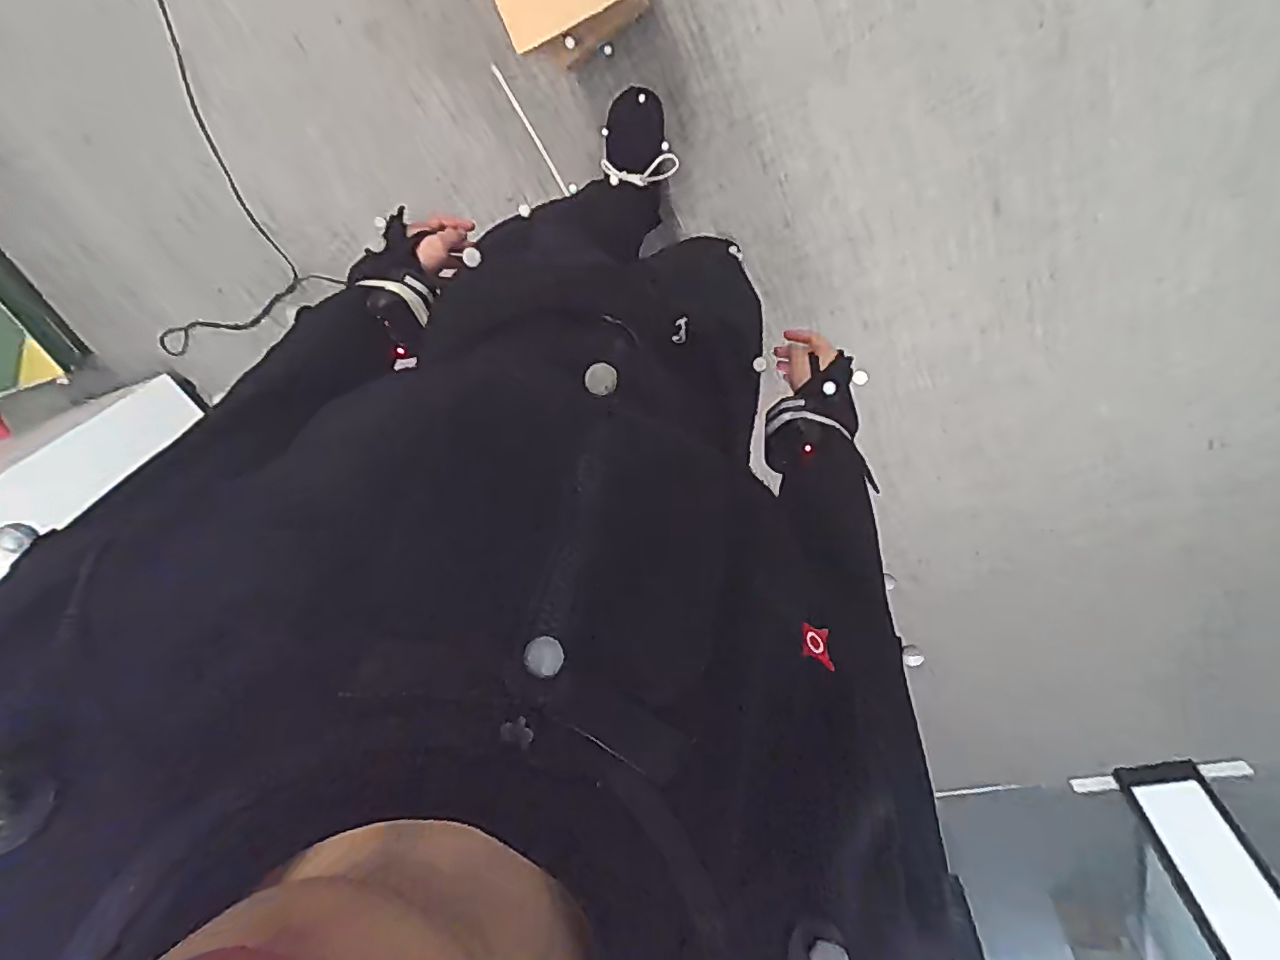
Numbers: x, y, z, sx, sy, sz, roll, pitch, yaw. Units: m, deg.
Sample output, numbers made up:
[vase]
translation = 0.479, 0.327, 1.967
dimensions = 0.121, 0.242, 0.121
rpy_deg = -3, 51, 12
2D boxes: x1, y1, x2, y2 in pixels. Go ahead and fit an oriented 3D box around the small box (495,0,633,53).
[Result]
[small box]
translation = -0.114, -0.708, 0.718
dimensions = 0.168, 0.176, 0.179
rpy_deg = -15, 125, 18
